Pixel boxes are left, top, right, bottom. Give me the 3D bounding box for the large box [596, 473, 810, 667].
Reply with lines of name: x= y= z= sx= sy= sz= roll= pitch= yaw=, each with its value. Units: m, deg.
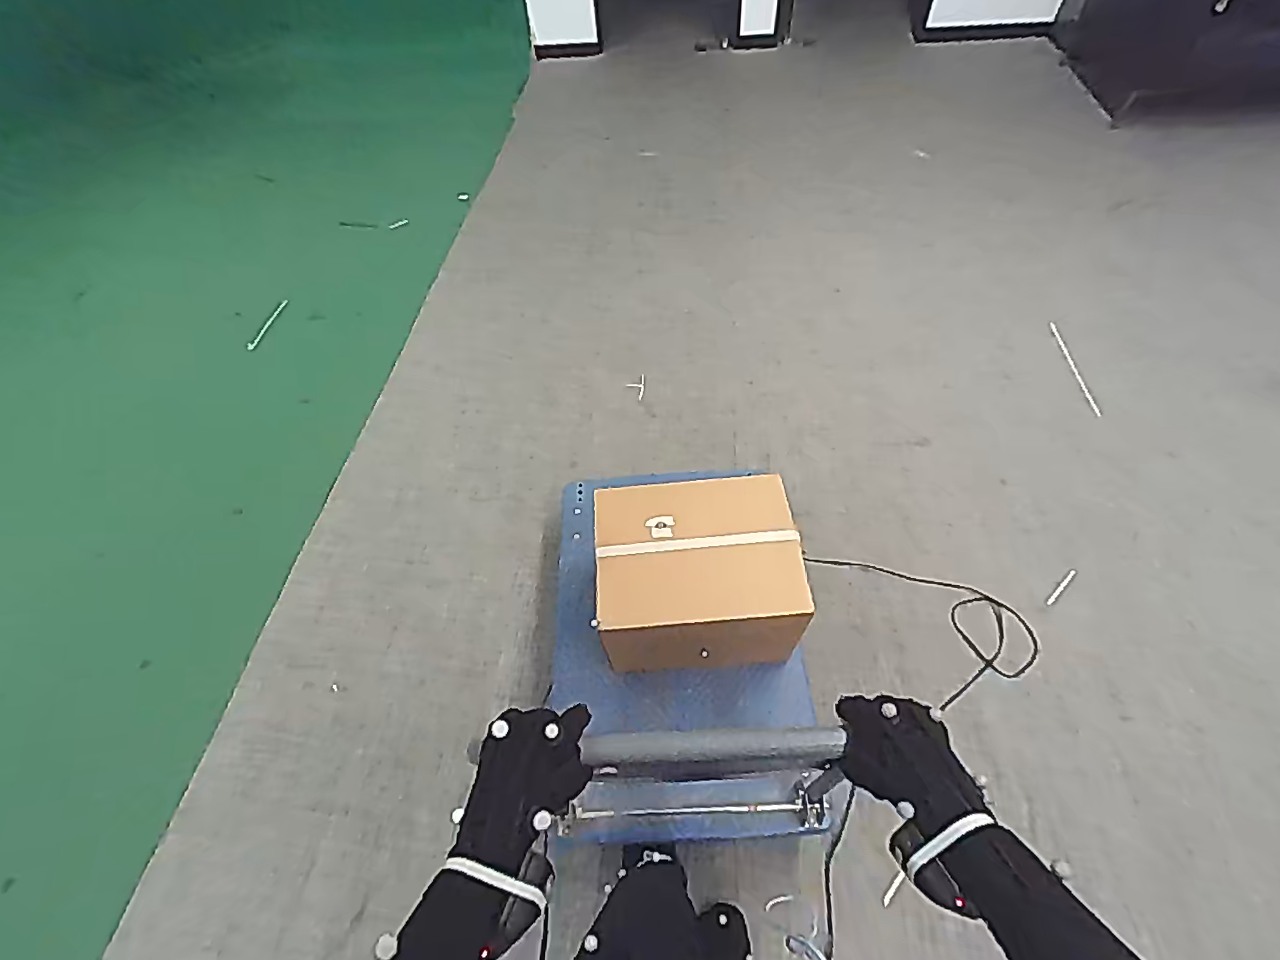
large box: x=0.126 y=0.213 z=1.216 sx=0.408 sy=0.320 sz=0.320 roll=-6 pitch=56 yaw=3
